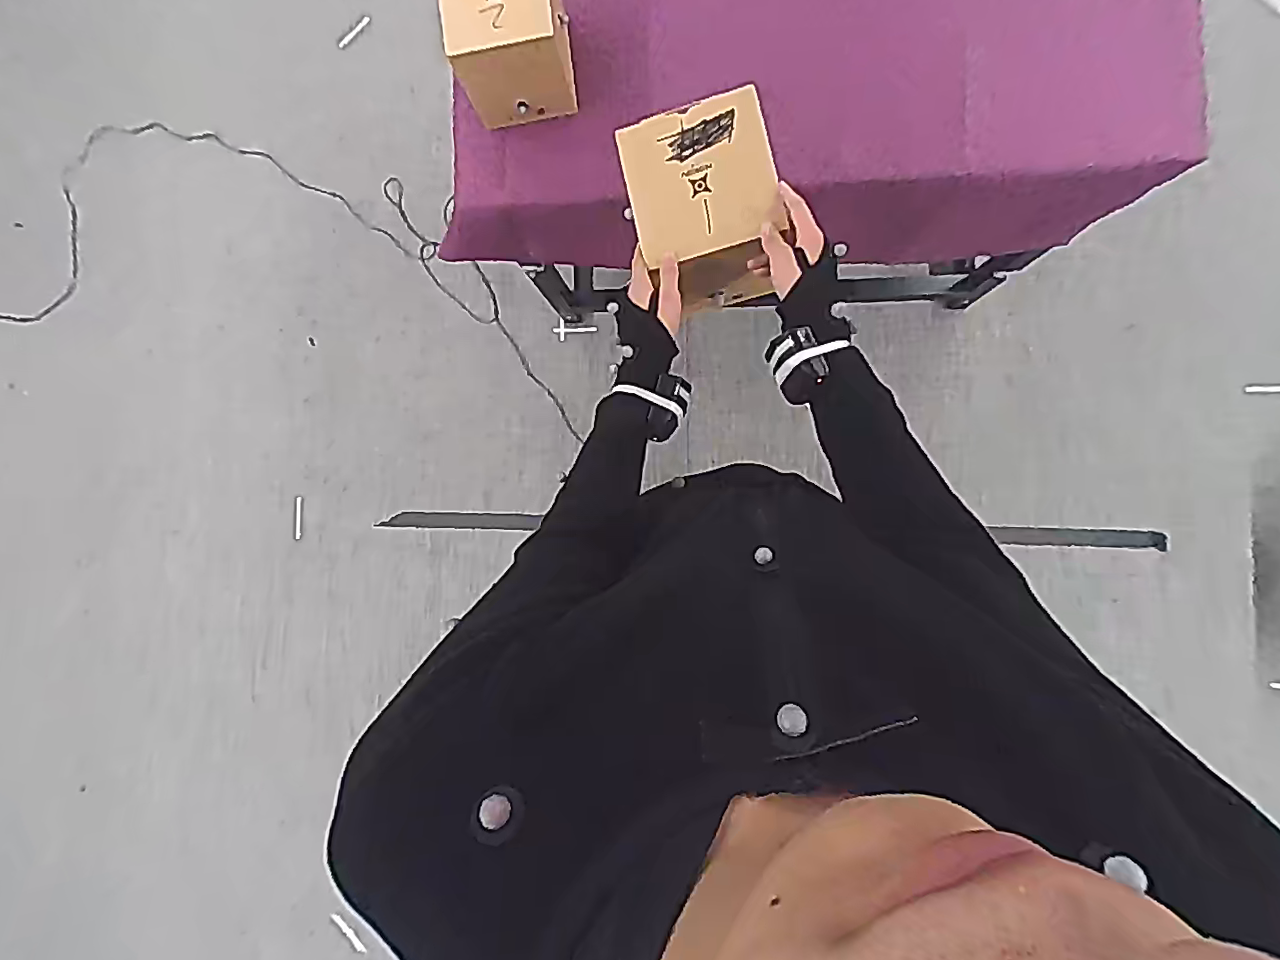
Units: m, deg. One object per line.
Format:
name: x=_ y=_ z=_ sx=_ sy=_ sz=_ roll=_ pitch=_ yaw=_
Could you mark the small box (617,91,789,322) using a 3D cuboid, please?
small box: x=0.081 y=-0.327 z=0.681 sx=0.168 sy=0.176 sz=0.179 roll=-13 pitch=84 yaw=10
